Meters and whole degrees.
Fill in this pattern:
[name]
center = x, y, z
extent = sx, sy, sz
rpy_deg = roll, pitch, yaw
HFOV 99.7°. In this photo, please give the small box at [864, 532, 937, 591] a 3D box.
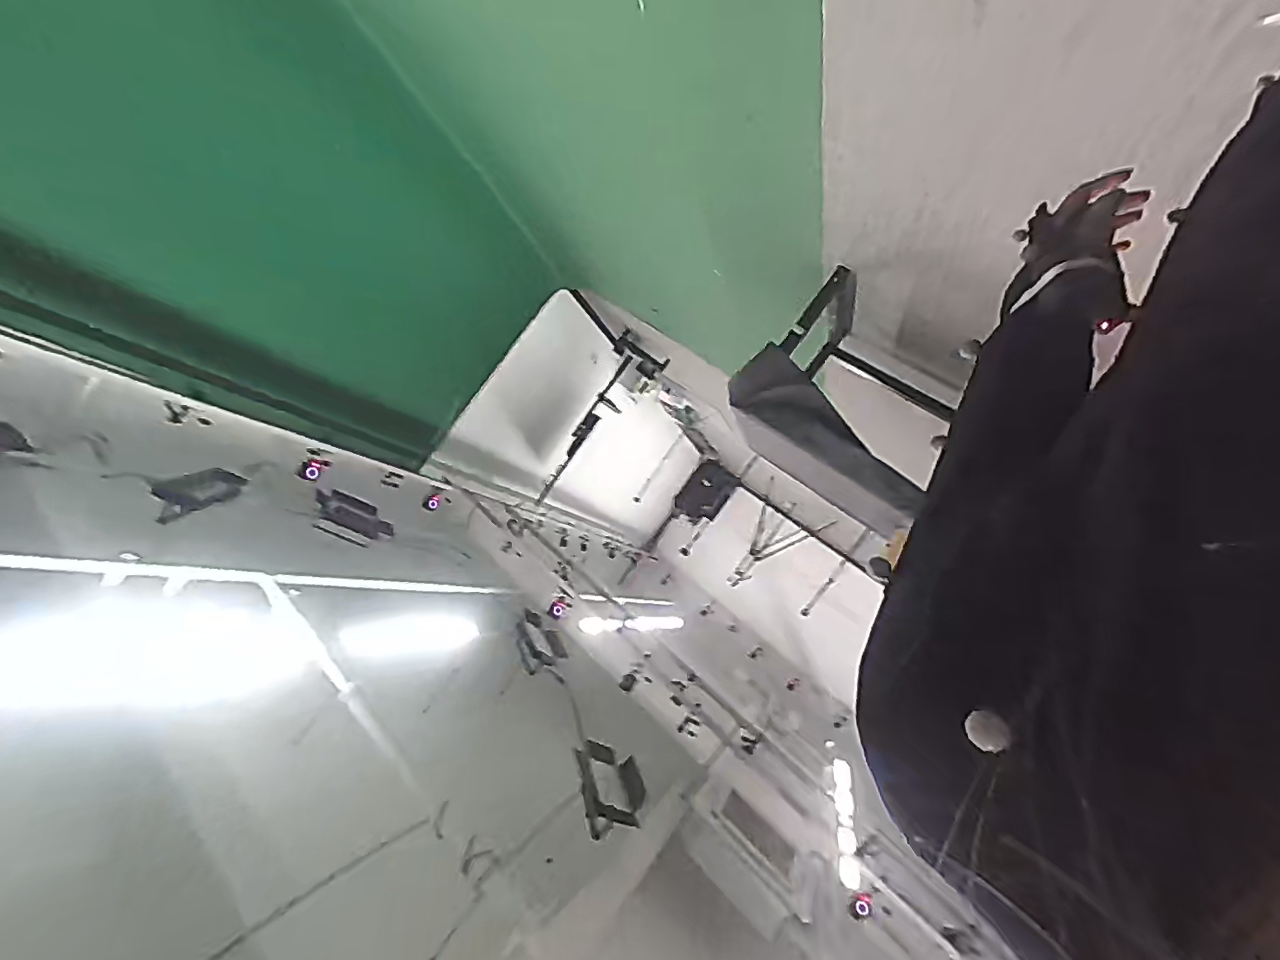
[small box]
center = 1.012, 0.313, 2.108
extent = 0.179, 0.176, 0.168
rpy_deg = 37, 180, 15
